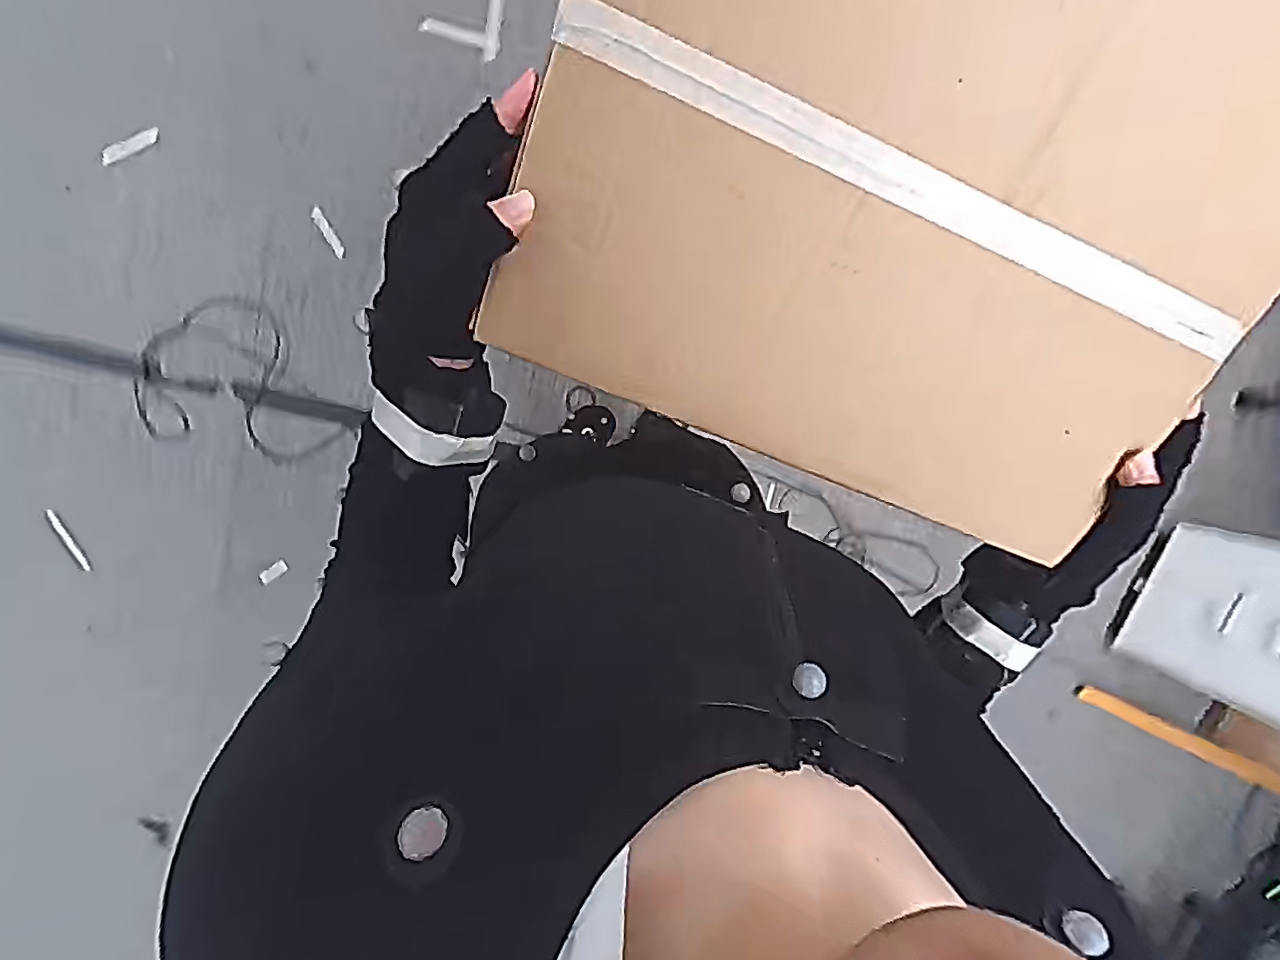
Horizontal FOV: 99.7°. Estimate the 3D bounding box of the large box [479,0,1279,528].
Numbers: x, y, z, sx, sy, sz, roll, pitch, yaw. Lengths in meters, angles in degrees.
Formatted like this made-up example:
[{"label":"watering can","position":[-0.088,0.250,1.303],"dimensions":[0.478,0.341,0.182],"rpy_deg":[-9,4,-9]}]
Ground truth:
[{"label":"large box","position":[0.135,-0.213,0.429],"dimensions":[0.408,0.320,0.320],"rpy_deg":[19,112,-9]}]
